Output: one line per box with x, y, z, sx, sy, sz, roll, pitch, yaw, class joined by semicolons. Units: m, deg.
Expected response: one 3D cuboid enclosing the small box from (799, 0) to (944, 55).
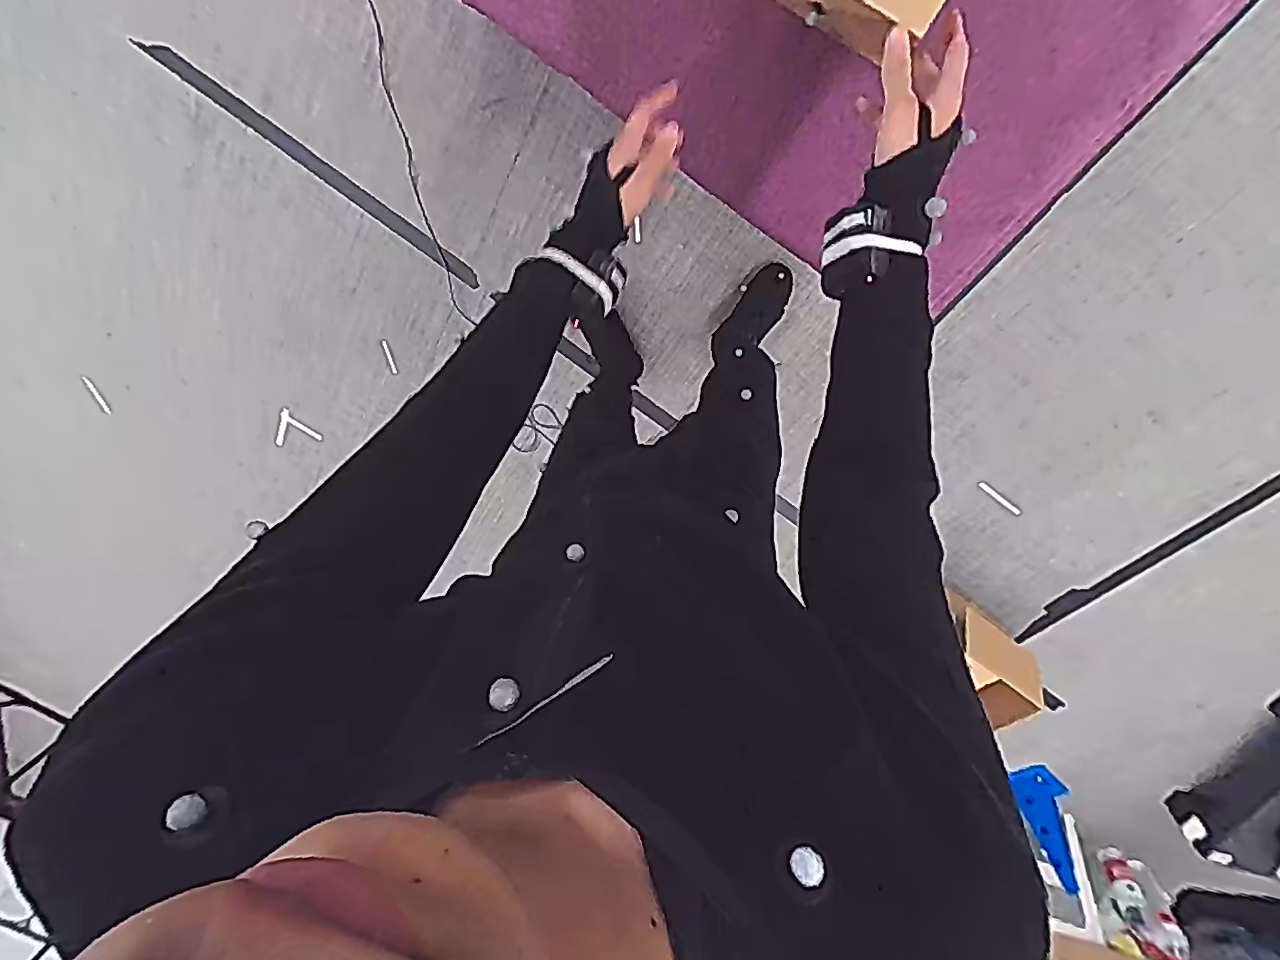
0.206;-0.486;0.435;0.168;0.176;0.179;29;122;-5;small box
